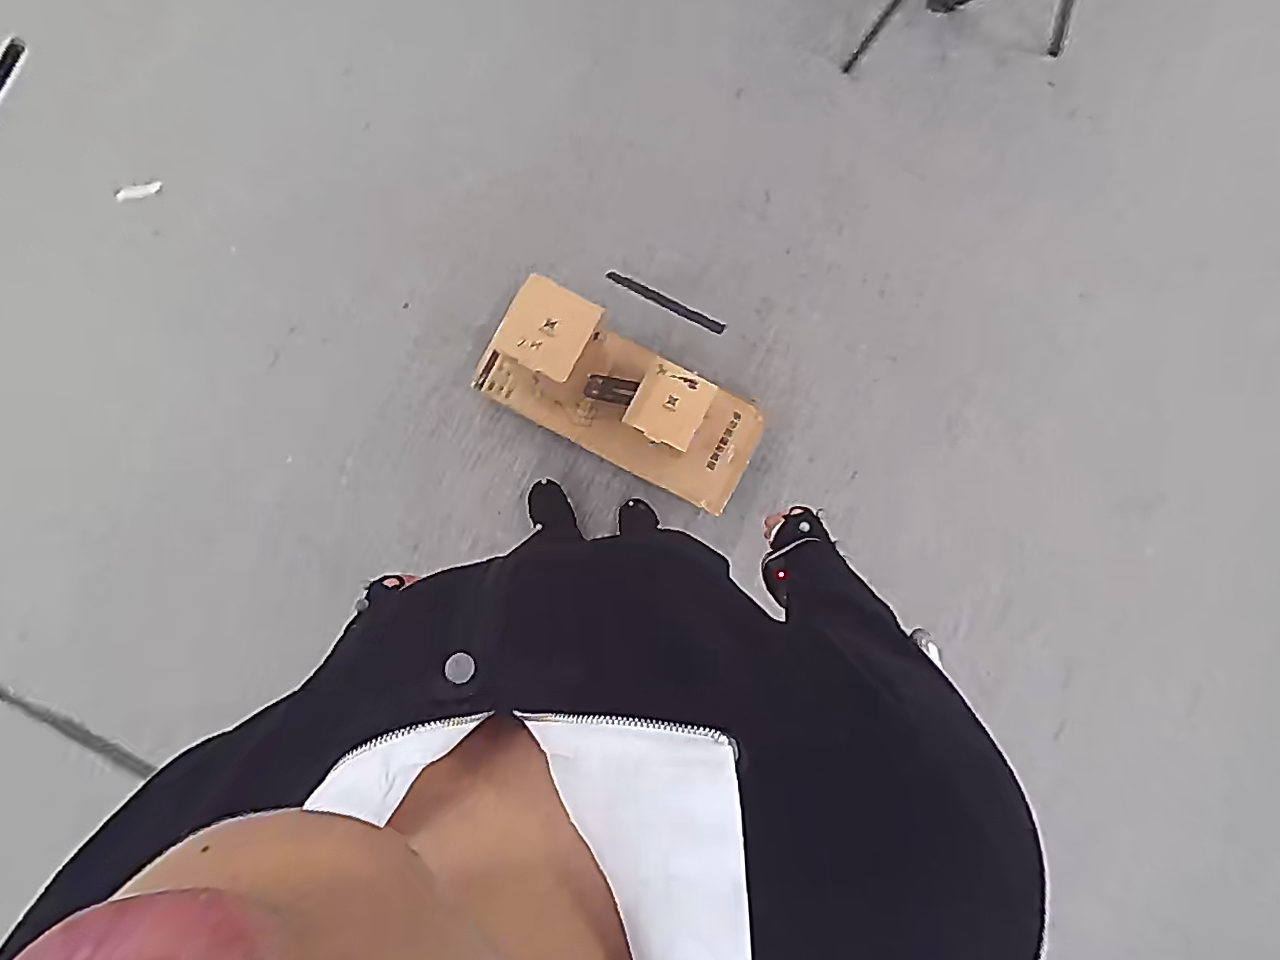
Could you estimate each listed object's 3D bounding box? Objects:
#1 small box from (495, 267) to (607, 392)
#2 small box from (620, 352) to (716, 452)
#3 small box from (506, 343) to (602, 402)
[{"bbox_3d":[-0.182,-0.312,1.159,0.168,0.176,0.179,29,89,0],"label":"small box"},{"bbox_3d":[0.070,-0.180,1.322,0.168,0.176,0.179,29,90,3],"label":"small box"},{"bbox_3d":[-0.202,-0.312,1.324,0.168,0.176,0.179,27,90,0],"label":"small box"}]
